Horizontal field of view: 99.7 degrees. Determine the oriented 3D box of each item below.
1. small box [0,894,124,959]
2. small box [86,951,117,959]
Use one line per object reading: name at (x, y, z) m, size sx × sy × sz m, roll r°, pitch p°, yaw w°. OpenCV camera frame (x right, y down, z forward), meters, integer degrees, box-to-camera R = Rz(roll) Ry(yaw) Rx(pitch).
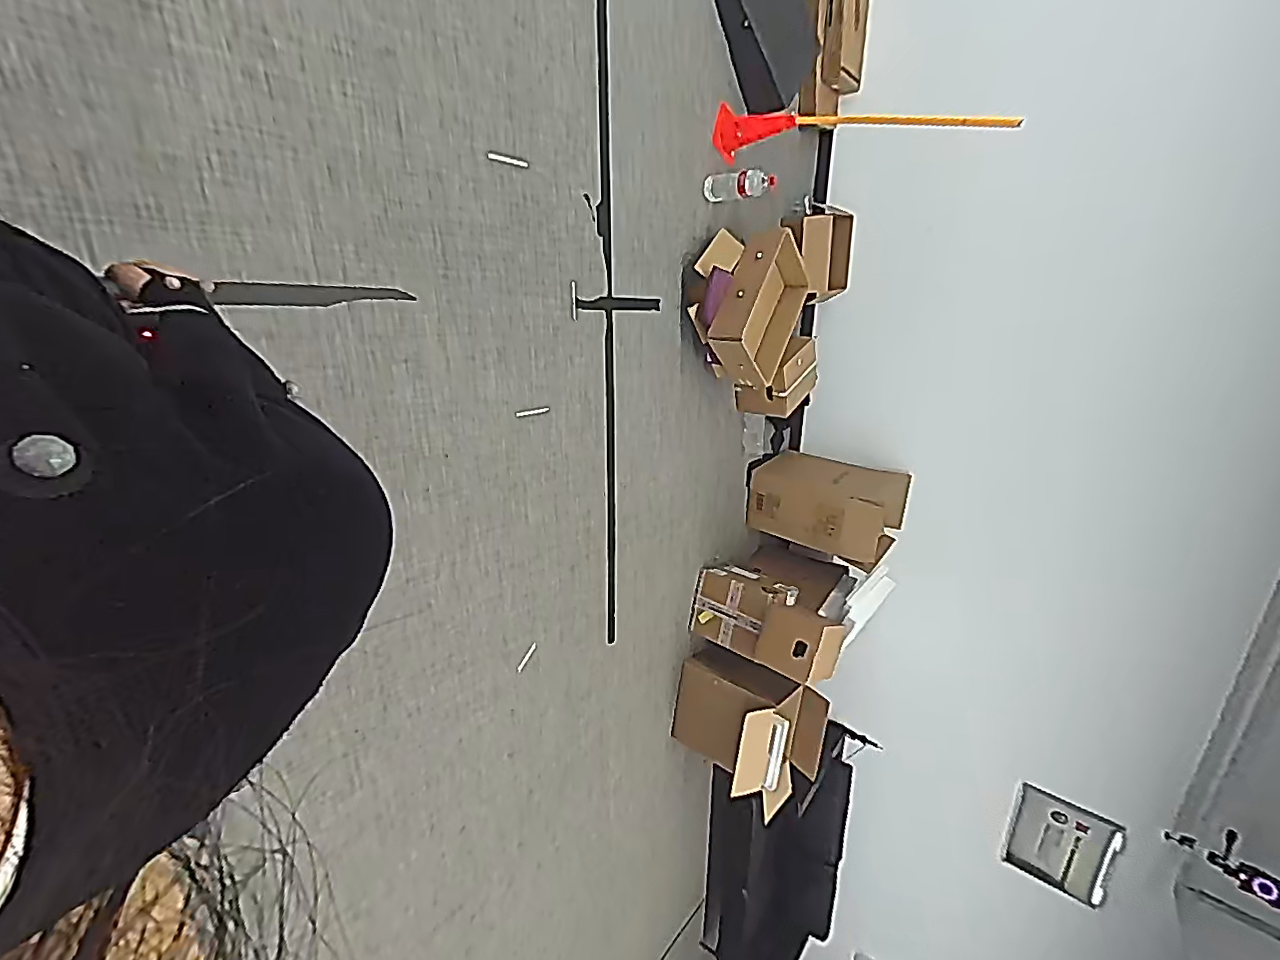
small box at (-1.239, 1.042, 1.153) m, size 0.168 × 0.176 × 0.179 m, roll -23°, pitch 121°, yaw -47°
small box at (-1.113, 1.088, 1.058) m, size 0.168 × 0.176 × 0.179 m, roll -19°, pitch 118°, yaw -48°
